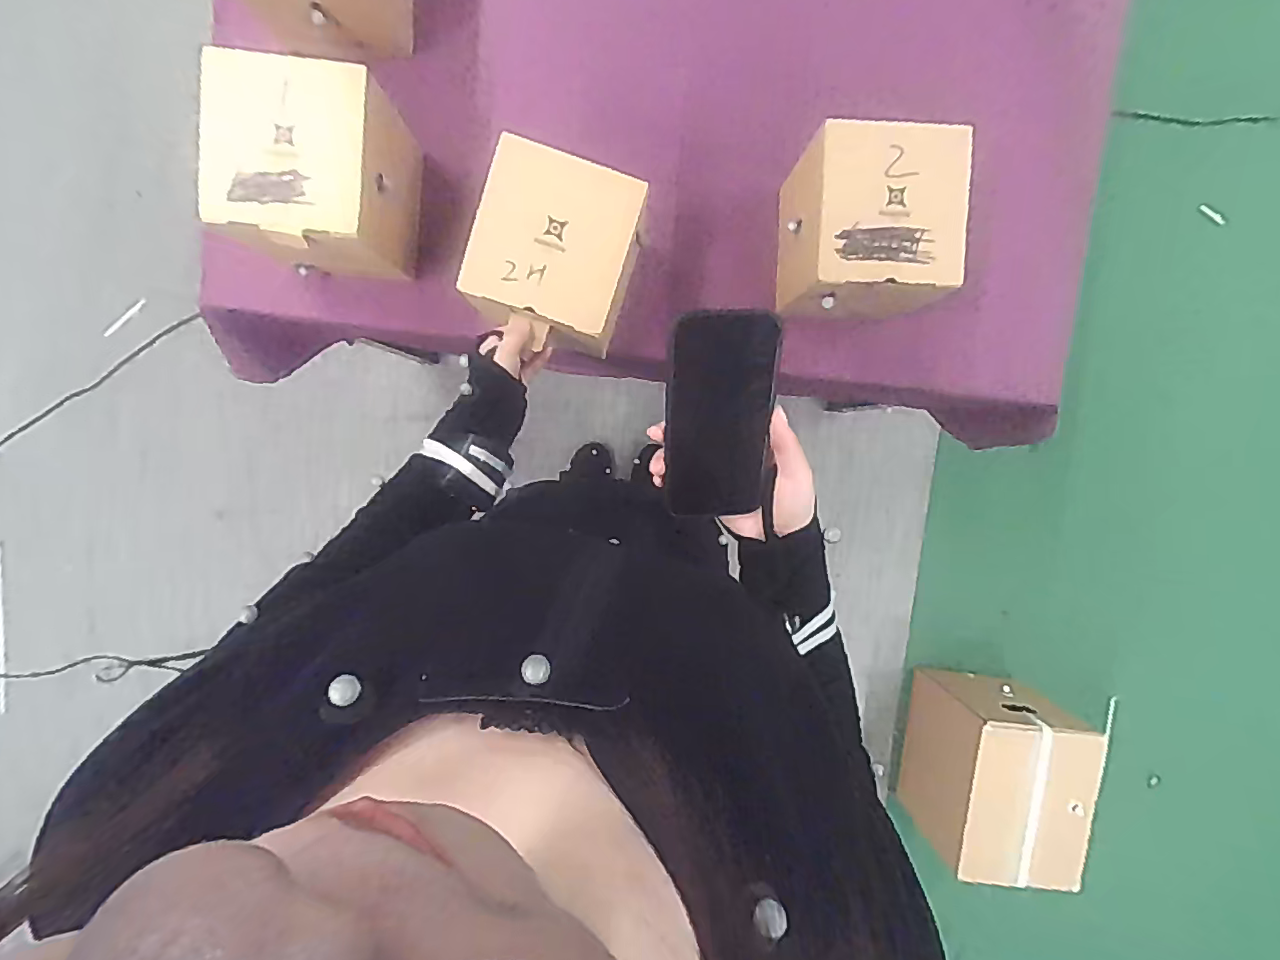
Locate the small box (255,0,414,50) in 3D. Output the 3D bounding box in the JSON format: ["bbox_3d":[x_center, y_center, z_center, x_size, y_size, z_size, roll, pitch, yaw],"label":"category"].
[{"bbox_3d":[-0.369,-0.637,0.616,0.168,0.176,0.179,2,96,-3],"label":"small box"}]

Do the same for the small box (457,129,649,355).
[{"bbox_3d":[-0.098,-0.271,0.660,0.168,0.176,0.179,19,94,-3],"label":"small box"}]

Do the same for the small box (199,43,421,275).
[{"bbox_3d":[-0.374,-0.359,0.641,0.168,0.176,0.179,5,94,-3],"label":"small box"}]
